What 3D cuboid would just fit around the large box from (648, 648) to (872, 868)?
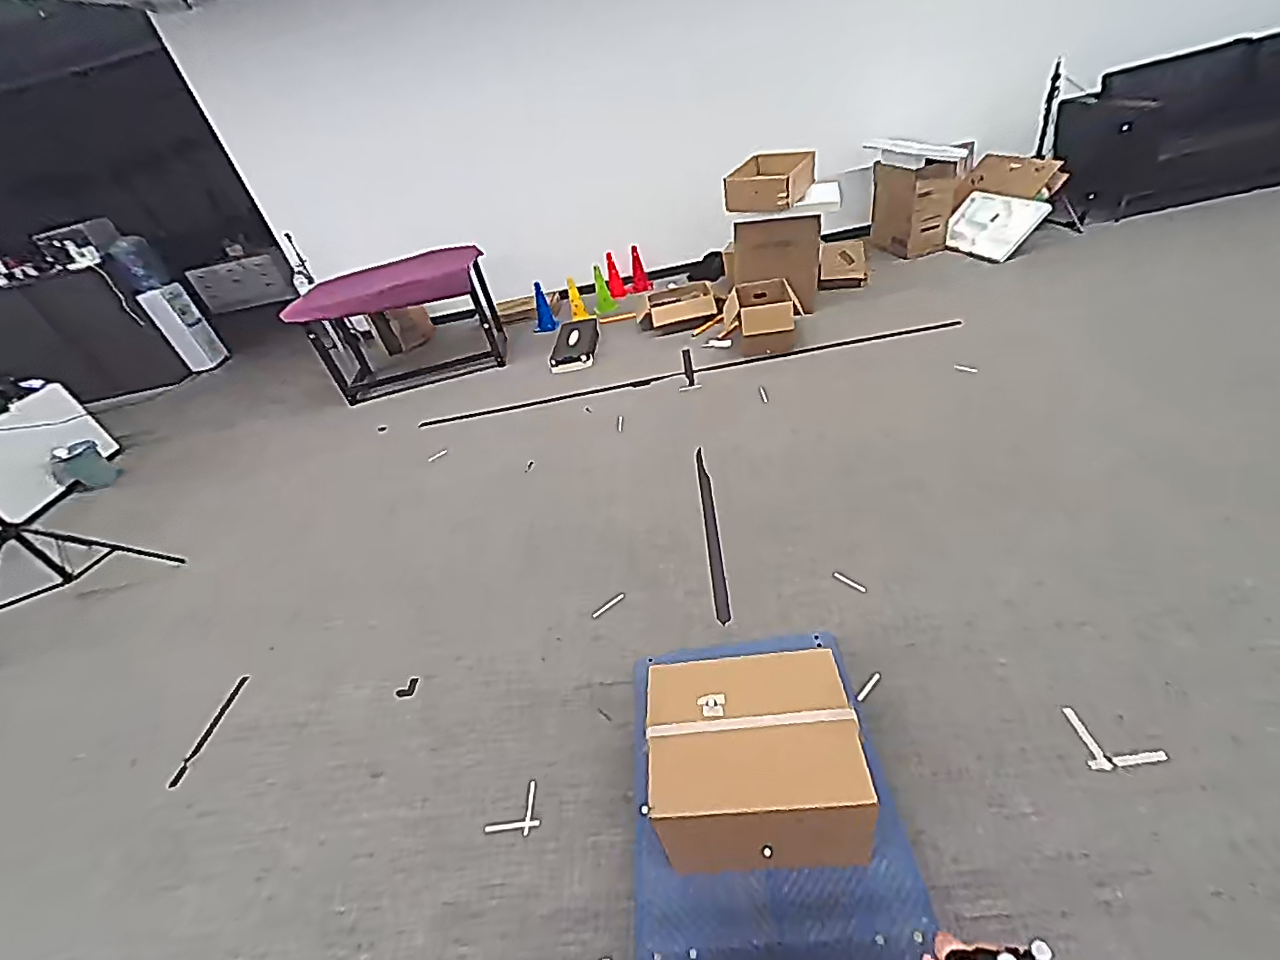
[{"bbox_3d":[0.246,0.606,1.176,0.408,0.320,0.320,-9,36,8],"label":"large box"}]
